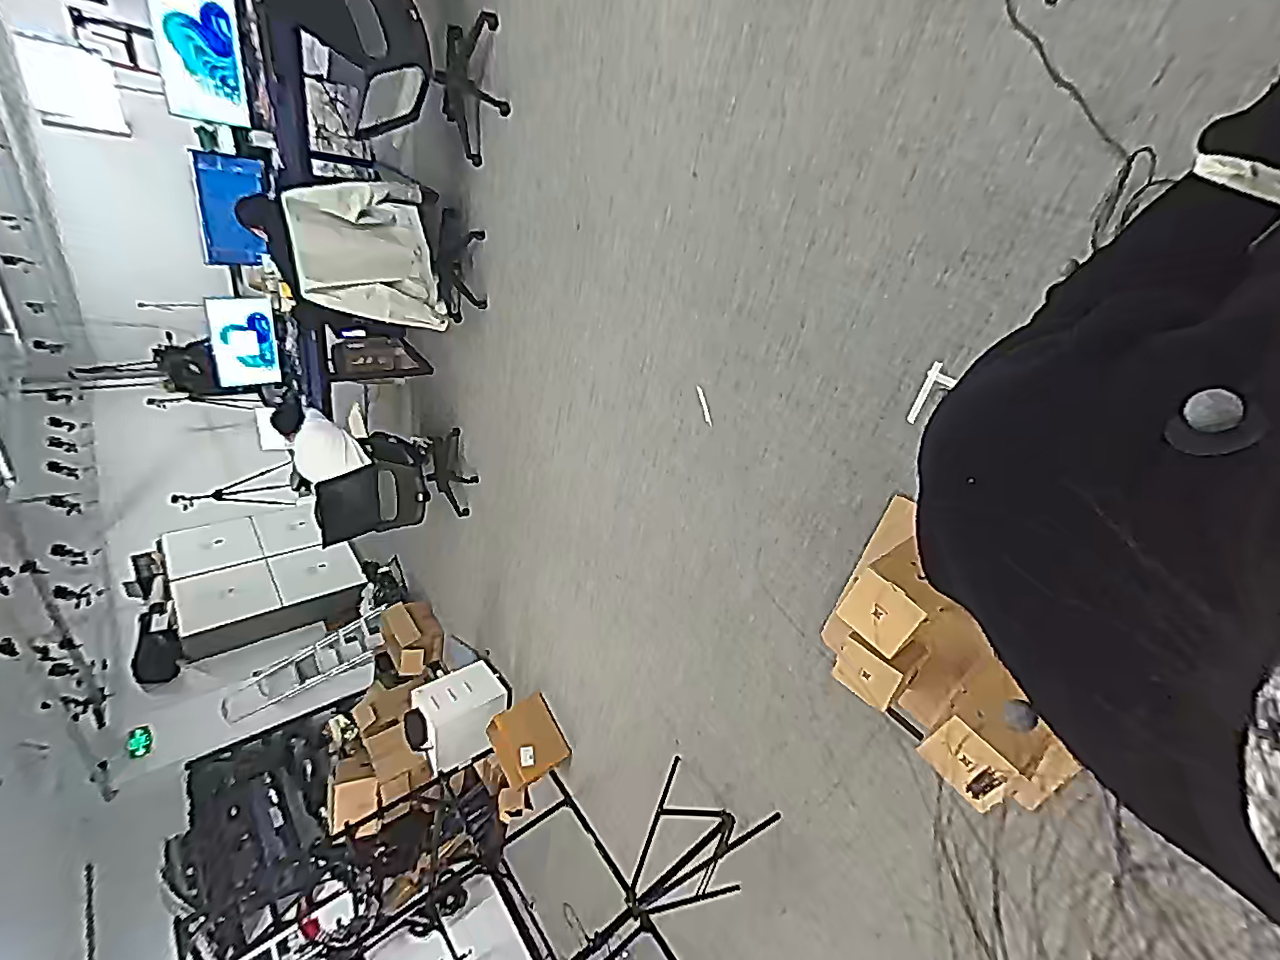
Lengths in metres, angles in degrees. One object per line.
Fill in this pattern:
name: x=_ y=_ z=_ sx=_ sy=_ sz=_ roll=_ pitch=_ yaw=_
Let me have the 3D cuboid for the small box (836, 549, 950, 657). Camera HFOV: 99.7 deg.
small box: x=0.637 y=0.302 z=1.357 sx=0.168 sy=0.176 sz=0.179 roll=43 pitch=130 yaw=33

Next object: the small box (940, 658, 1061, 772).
small box: x=0.917 y=0.590 z=1.373 sx=0.179 sy=0.176 sz=0.168 roll=46 pitch=132 yaw=28

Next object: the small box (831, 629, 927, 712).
small box: x=0.709 y=0.540 z=1.606 sx=0.179 sy=0.176 sz=0.168 roll=35 pitch=128 yaw=39
